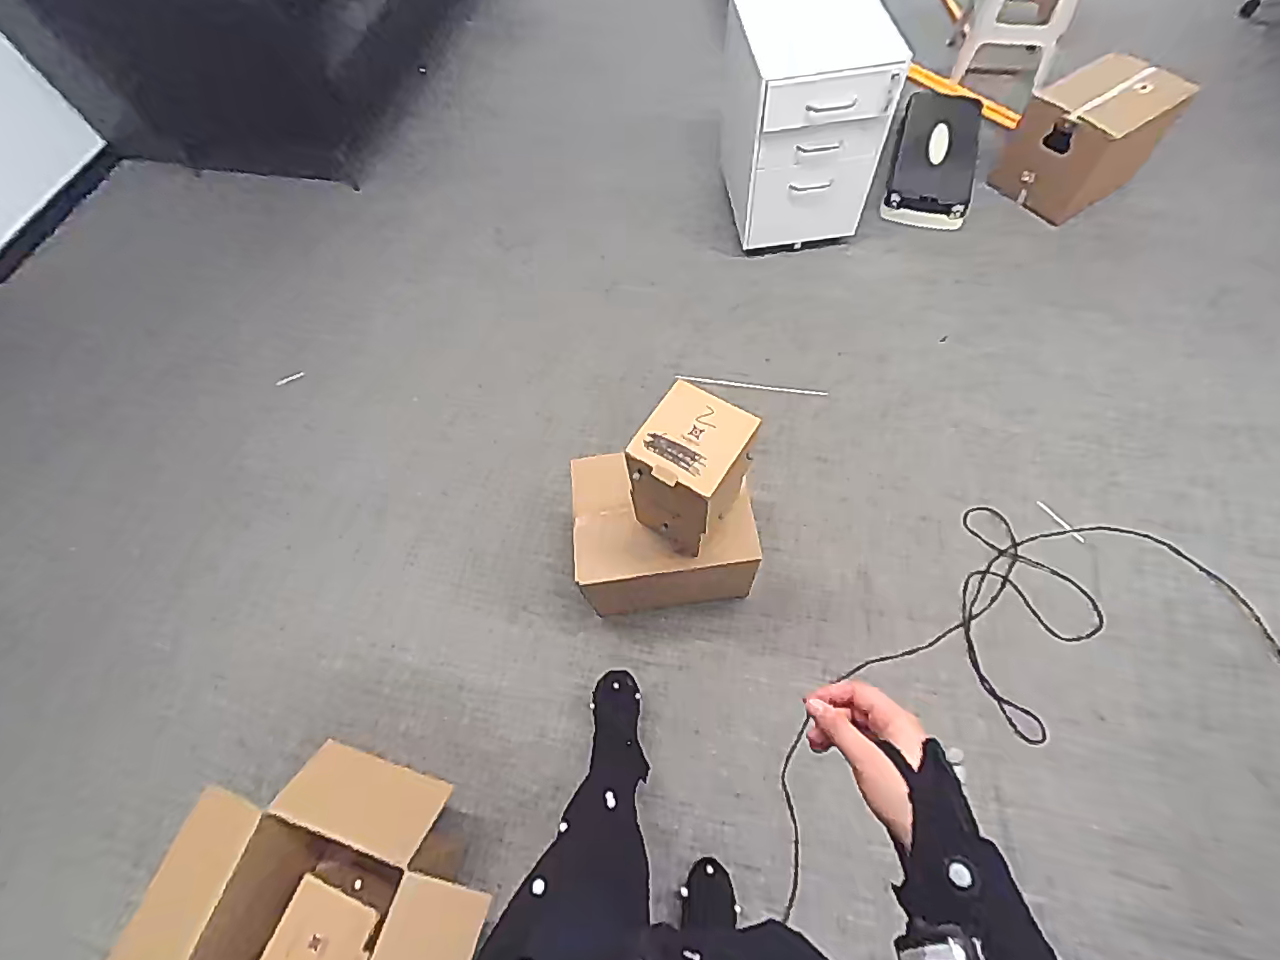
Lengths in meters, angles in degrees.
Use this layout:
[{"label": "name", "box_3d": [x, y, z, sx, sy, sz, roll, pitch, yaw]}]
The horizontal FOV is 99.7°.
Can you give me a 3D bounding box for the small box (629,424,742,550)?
[{"label": "small box", "box_3d": [0.099, 0.022, 1.137, 0.168, 0.176, 0.179, 30, 72, 17]}]
